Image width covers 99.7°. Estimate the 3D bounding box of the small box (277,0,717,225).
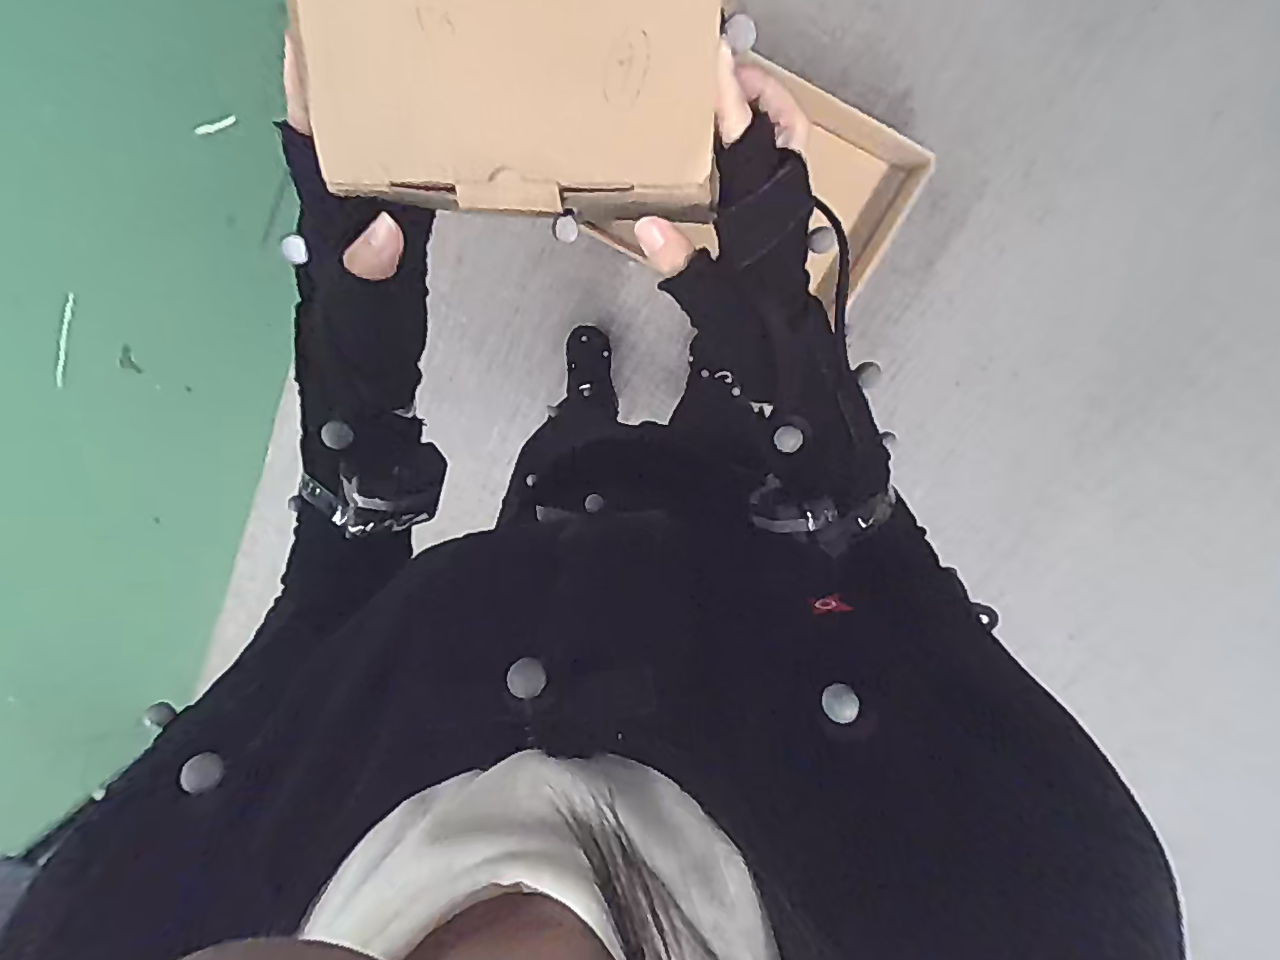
[{"bbox_3d":[-0.048,-0.224,0.268,0.168,0.176,0.179,4,114,7],"label":"small box"}]
